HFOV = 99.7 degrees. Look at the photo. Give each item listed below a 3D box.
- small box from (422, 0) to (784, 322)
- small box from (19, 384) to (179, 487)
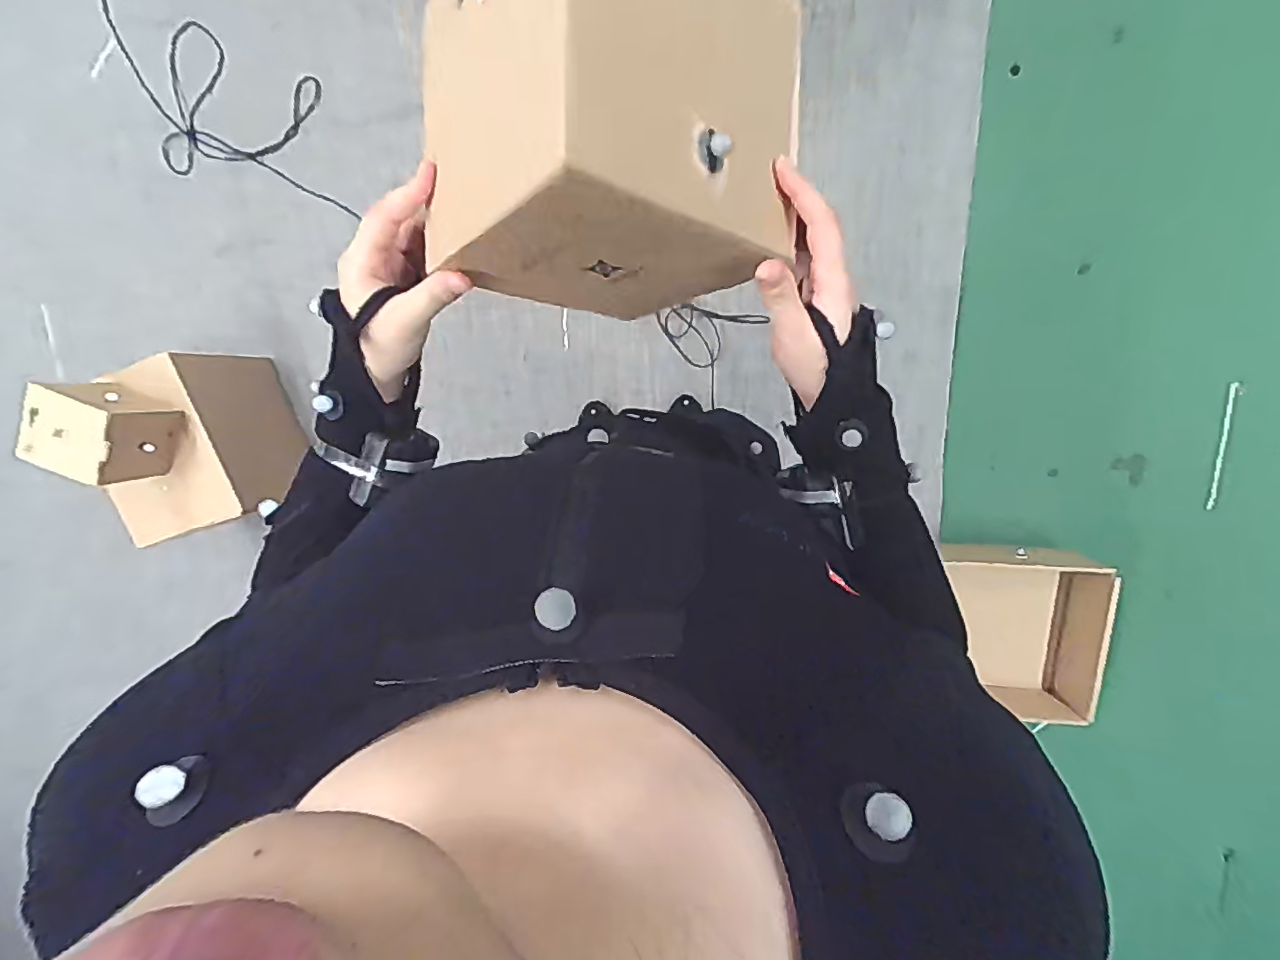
[{"bbox_3d":[-0.024,-0.218,0.346,0.179,0.168,0.176,2,87,-39],"label":"small box"},{"bbox_3d":[-1.164,-0.105,1.176,0.179,0.176,0.168,21,101,-1],"label":"small box"}]
